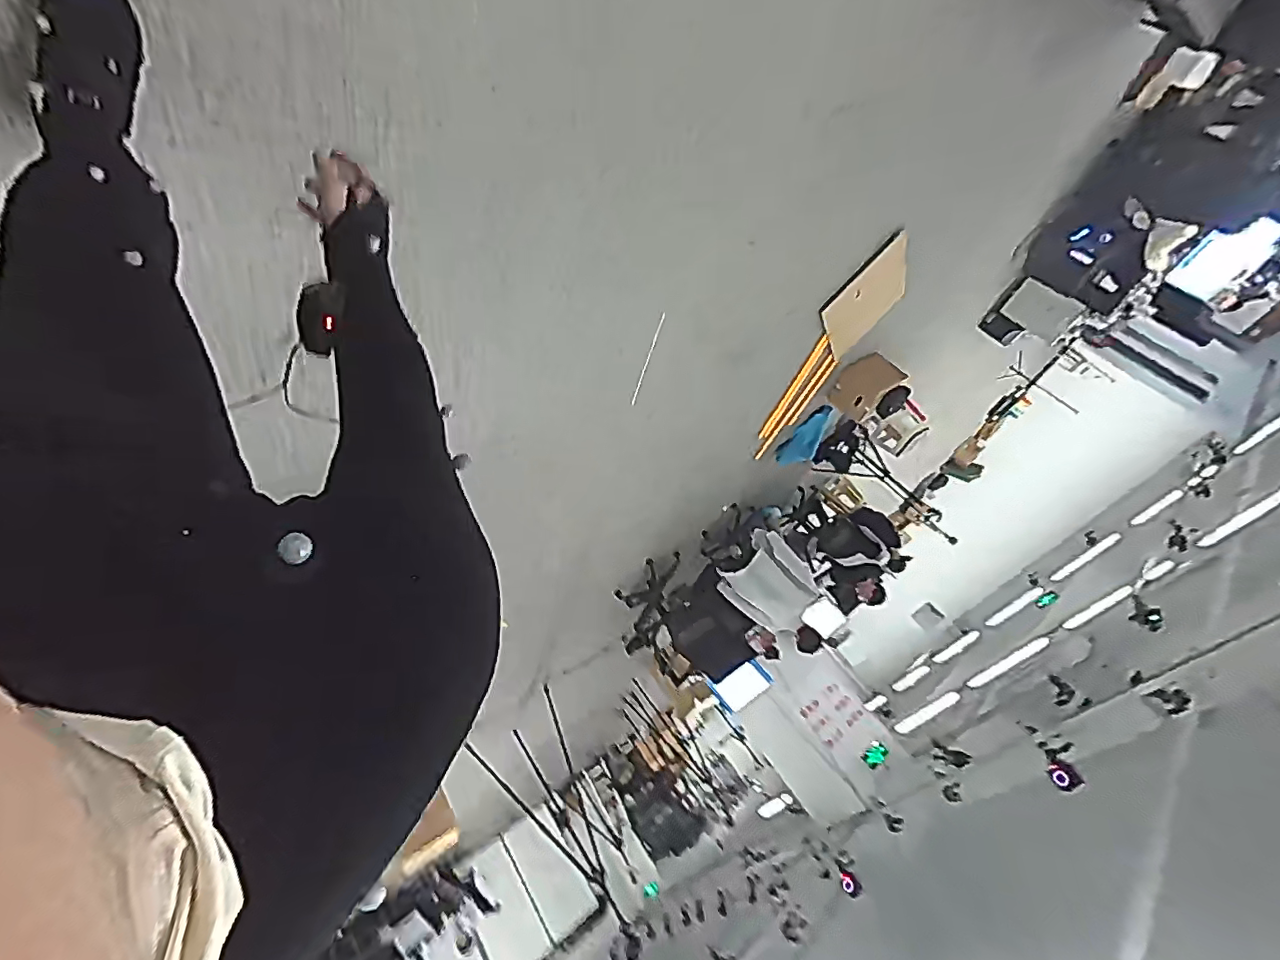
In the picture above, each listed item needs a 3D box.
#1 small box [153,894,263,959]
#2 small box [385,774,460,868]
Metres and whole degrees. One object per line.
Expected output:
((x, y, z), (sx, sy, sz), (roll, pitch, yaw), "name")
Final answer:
((-1.059, 1.167, 1.330), (0.168, 0.176, 0.179), (-19, 146, -36), "small box")
((-0.665, 1.036, 1.650), (0.168, 0.176, 0.179), (-20, 146, -35), "small box")
